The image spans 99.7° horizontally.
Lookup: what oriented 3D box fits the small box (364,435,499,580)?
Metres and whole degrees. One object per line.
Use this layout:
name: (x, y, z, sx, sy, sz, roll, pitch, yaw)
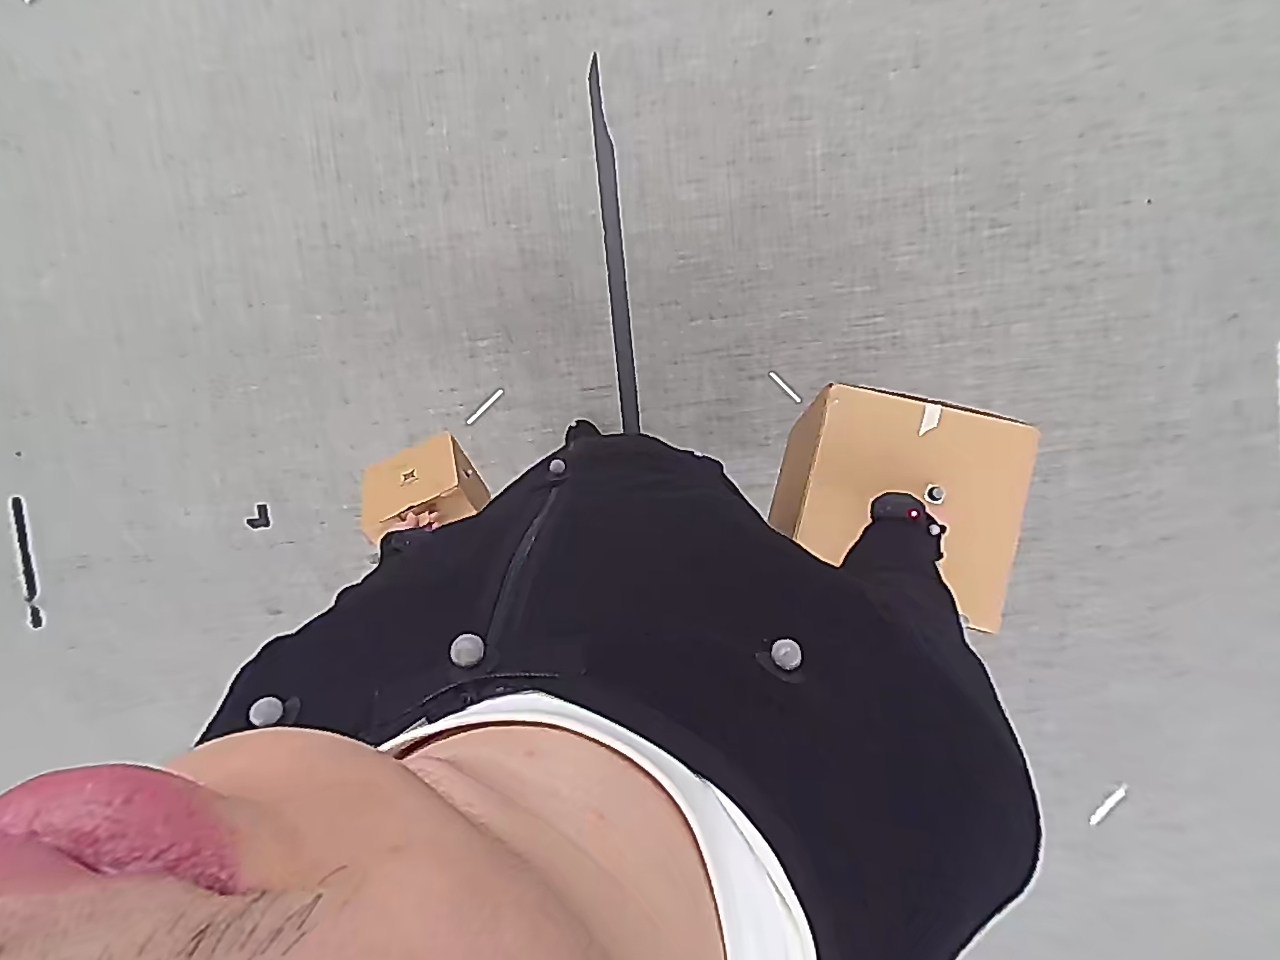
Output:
small box: (-0.369, 0.056, 0.975, 0.168, 0.179, 0.176, -25, 130, -6)
